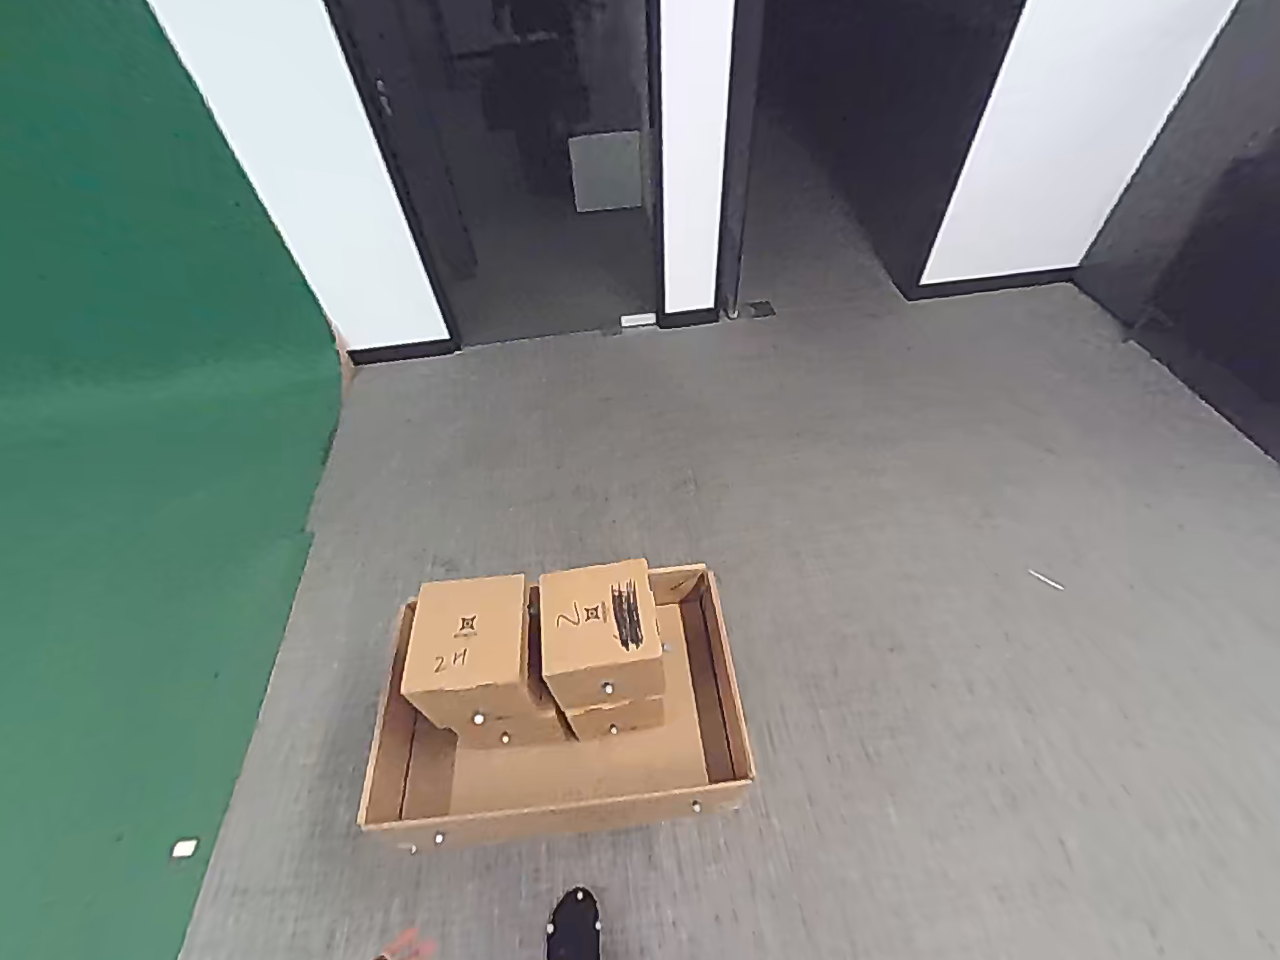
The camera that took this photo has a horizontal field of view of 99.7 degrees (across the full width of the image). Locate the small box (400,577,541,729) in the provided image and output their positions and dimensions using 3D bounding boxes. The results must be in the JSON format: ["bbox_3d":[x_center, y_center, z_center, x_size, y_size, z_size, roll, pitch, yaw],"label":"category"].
[{"bbox_3d":[-0.256,0.277,0.864,0.168,0.176,0.179,-4,49,-1],"label":"small box"}]
